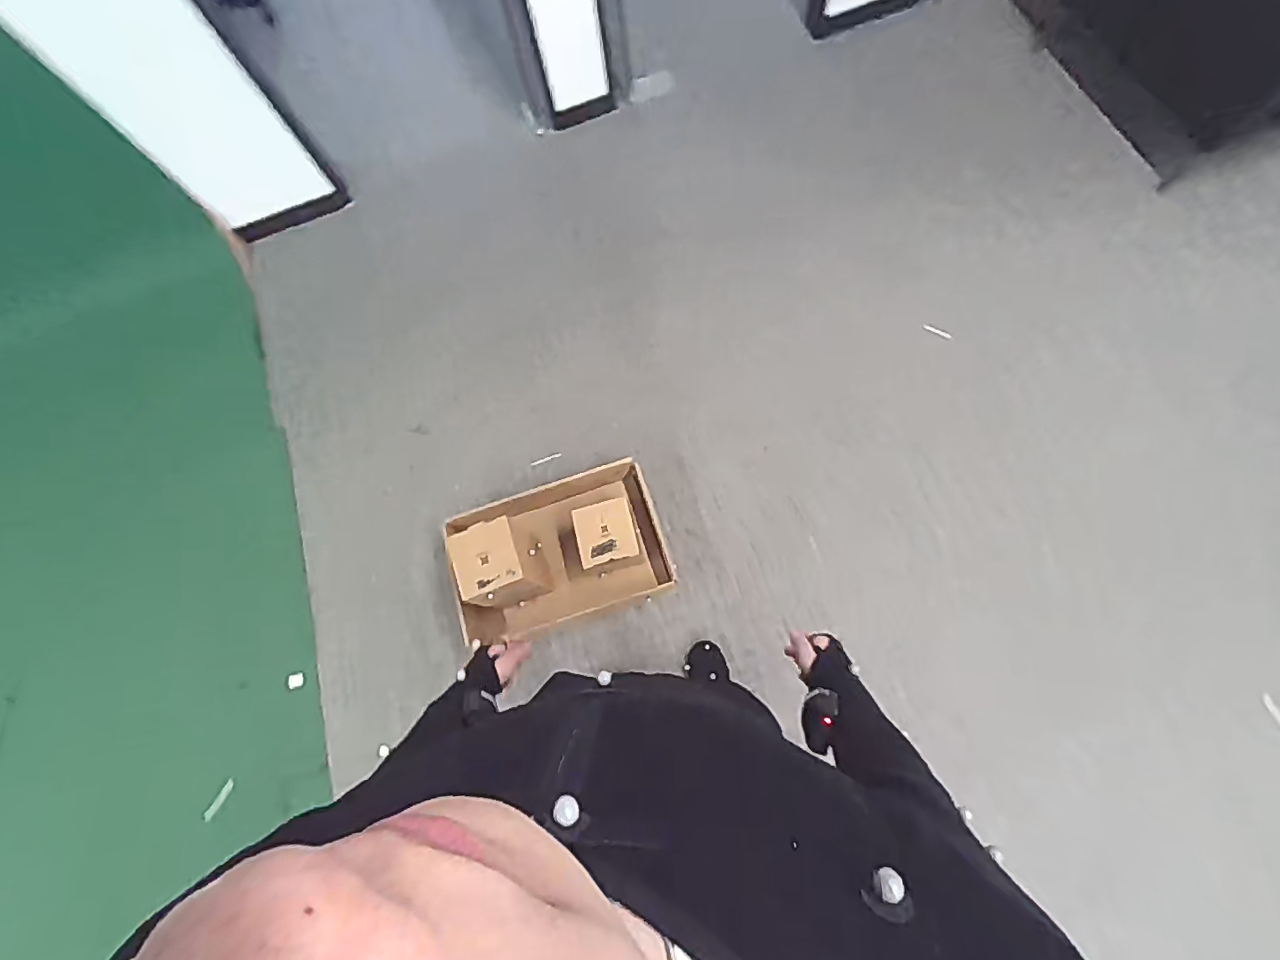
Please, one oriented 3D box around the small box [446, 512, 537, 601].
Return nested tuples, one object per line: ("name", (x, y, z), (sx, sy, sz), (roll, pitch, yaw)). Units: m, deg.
("small box", (-0.391, 0.210, 1.444), (0.168, 0.176, 0.179), (-21, 72, -2))
